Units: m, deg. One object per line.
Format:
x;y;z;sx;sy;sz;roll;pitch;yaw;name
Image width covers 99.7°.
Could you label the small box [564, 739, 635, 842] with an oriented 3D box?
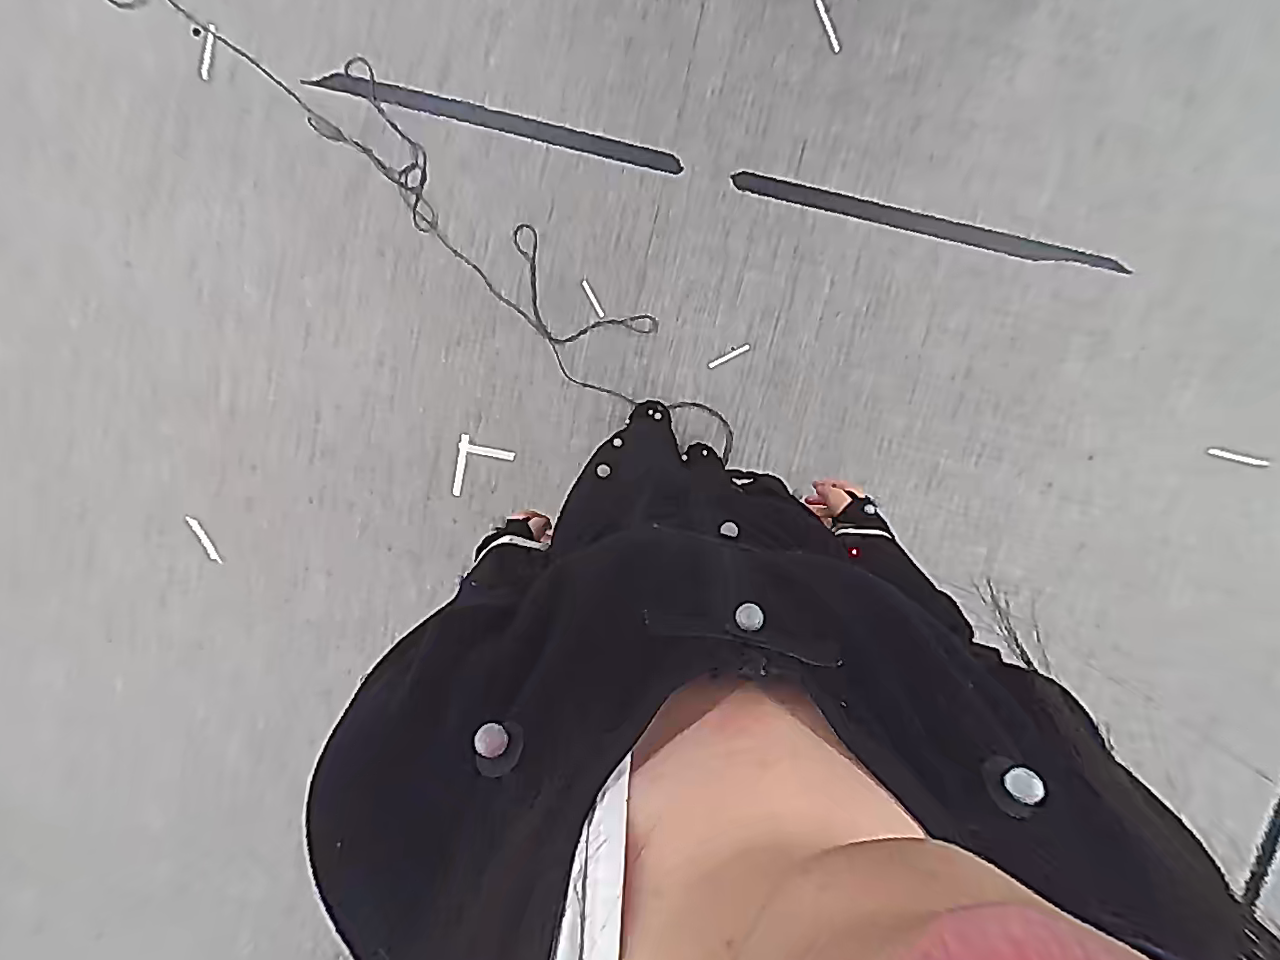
-0.105;0.836;1.472;0.168;0.176;0.179;7;95;1;small box
